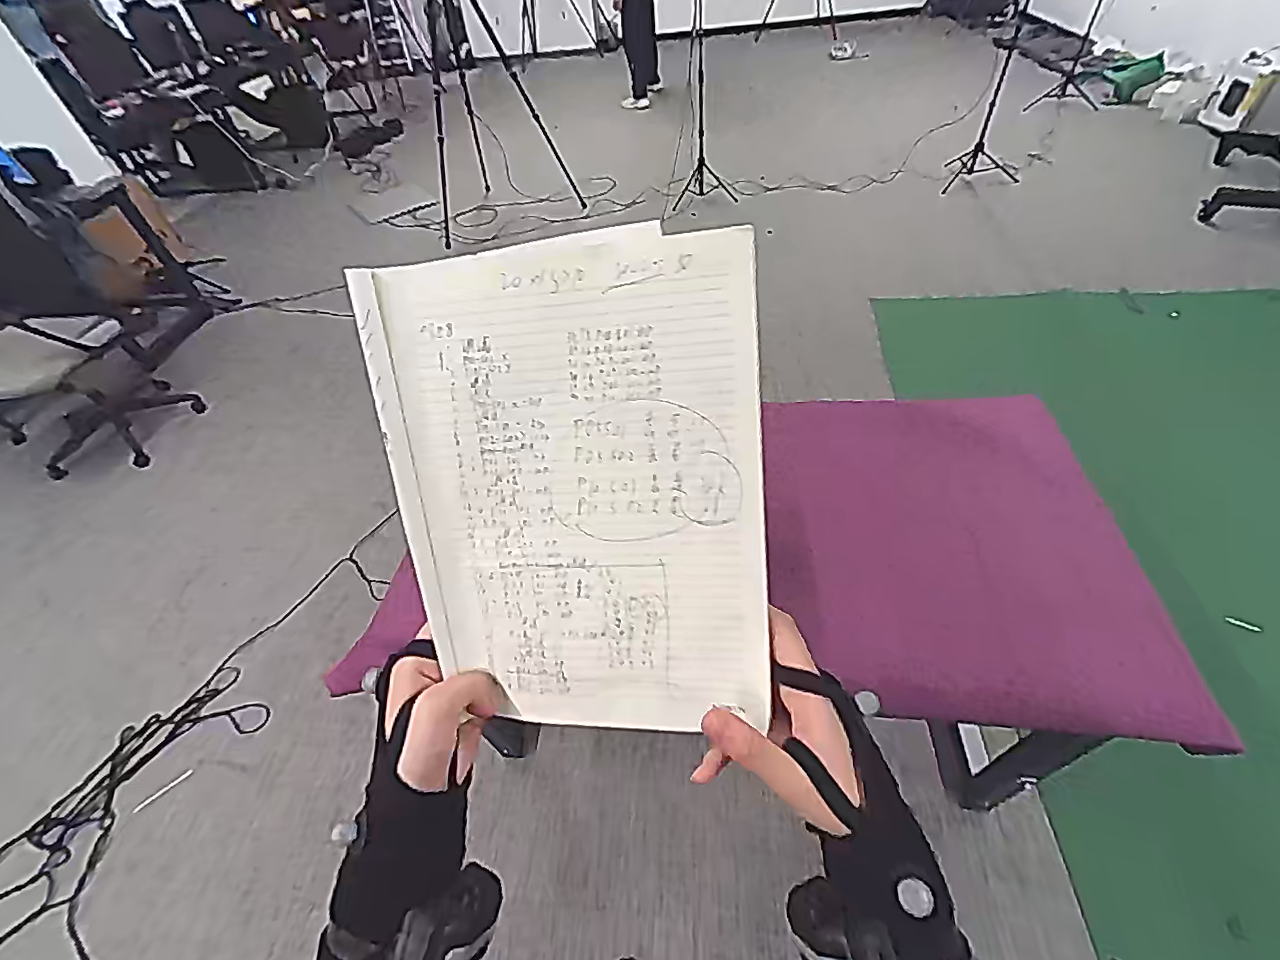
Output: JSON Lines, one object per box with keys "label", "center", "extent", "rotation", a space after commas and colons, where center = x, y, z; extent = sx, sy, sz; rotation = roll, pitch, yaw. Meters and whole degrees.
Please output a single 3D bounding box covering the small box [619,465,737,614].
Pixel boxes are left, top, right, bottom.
{"label": "small box", "center": [0.069, 0.096, 0.861], "extent": [0.168, 0.176, 0.179], "rotation": [2, 48, 8]}
